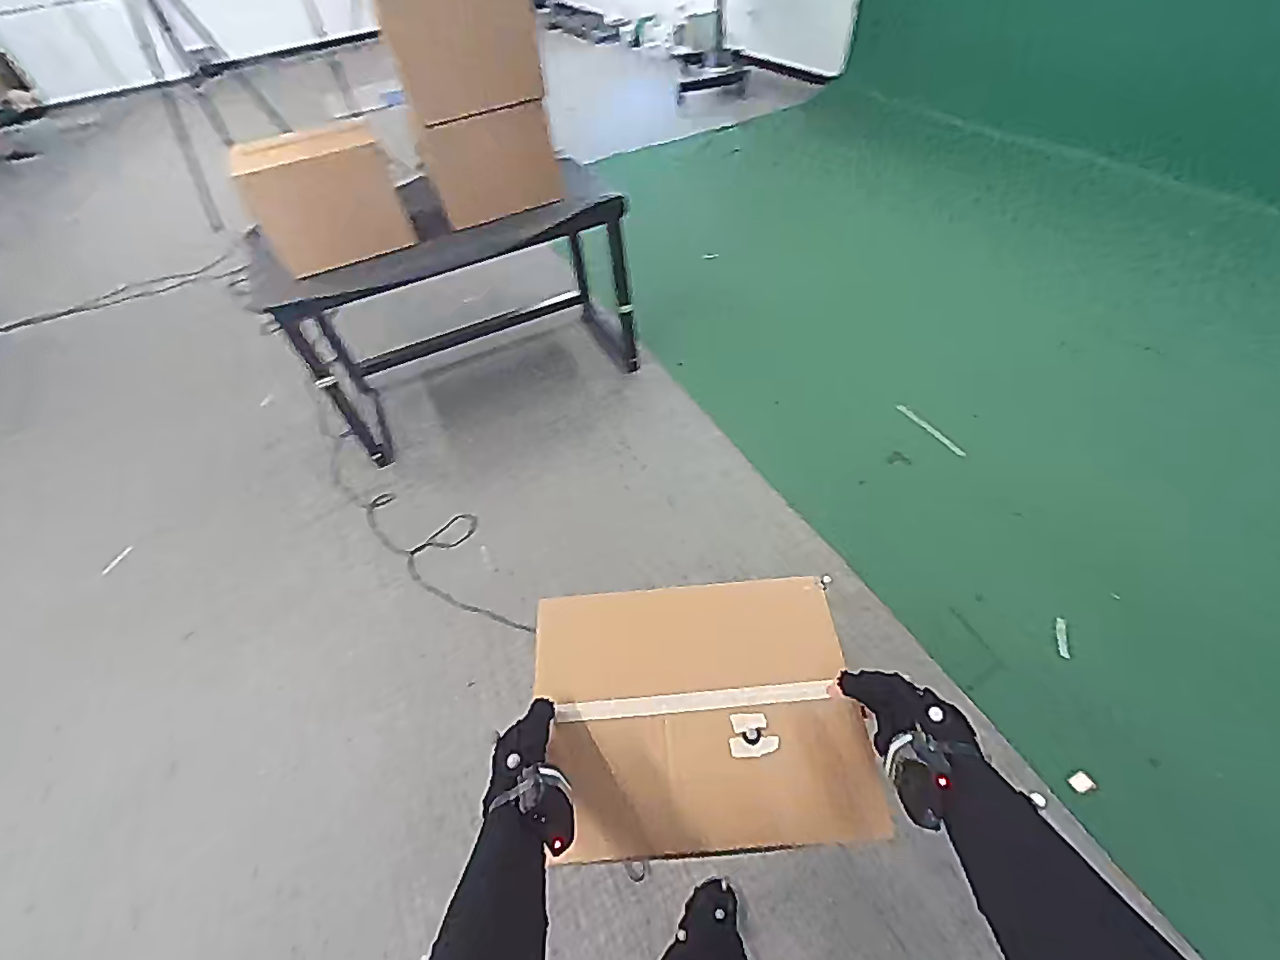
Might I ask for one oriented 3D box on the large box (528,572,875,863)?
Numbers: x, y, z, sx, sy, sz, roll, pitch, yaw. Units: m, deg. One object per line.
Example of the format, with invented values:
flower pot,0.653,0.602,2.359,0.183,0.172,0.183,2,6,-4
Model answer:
large box,0.060,0.362,0.810,0.408,0.320,0.320,-5,55,-1
